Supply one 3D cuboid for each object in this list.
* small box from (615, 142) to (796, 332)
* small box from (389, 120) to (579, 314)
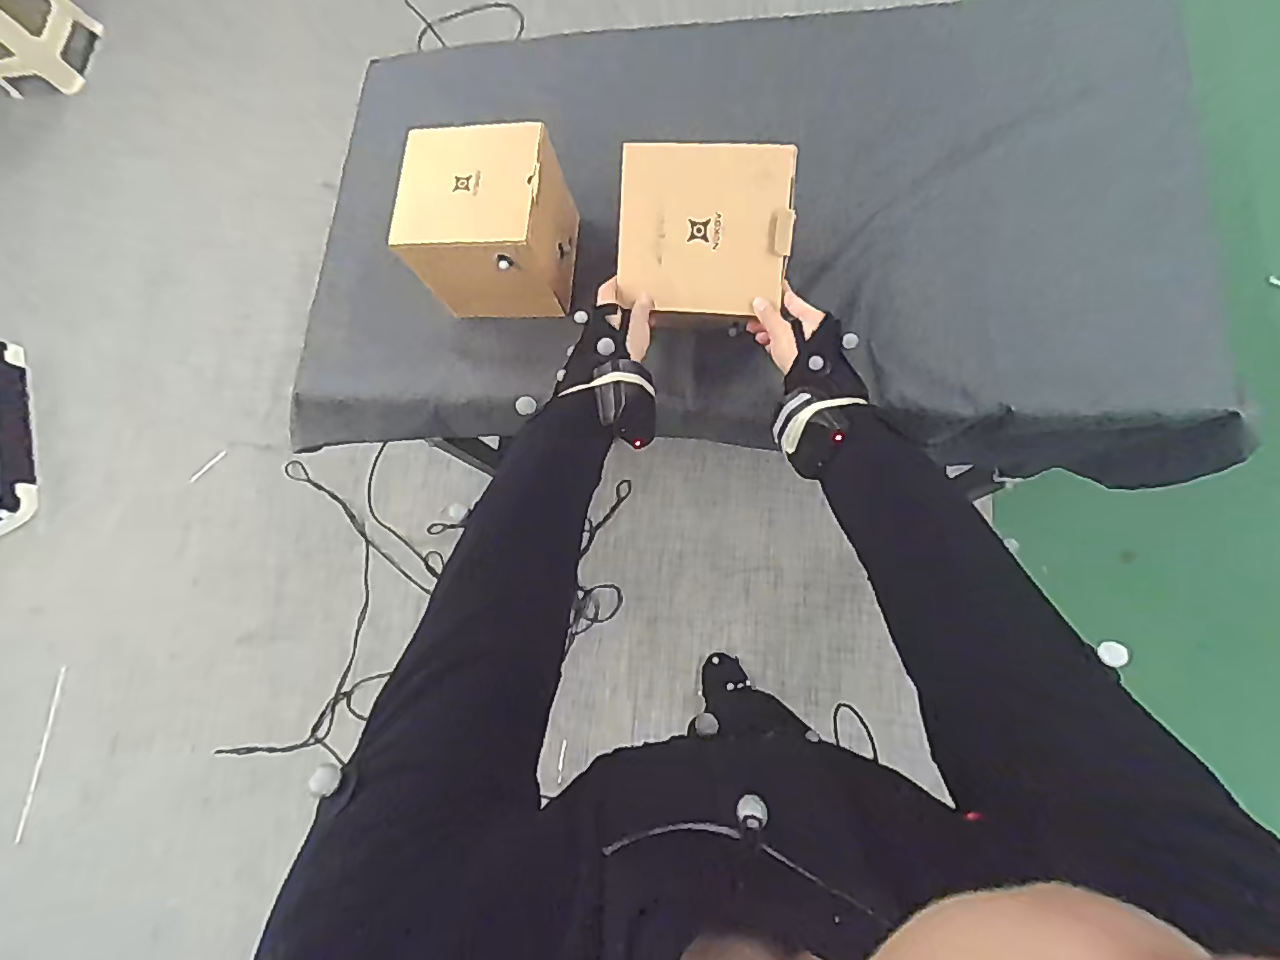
[{"bbox_3d":[0.074,-0.268,0.630,0.179,0.176,0.168,4,99,8],"label":"small box"},{"bbox_3d":[-0.193,-0.335,0.718,0.179,0.176,0.168,2,77,9],"label":"small box"}]
